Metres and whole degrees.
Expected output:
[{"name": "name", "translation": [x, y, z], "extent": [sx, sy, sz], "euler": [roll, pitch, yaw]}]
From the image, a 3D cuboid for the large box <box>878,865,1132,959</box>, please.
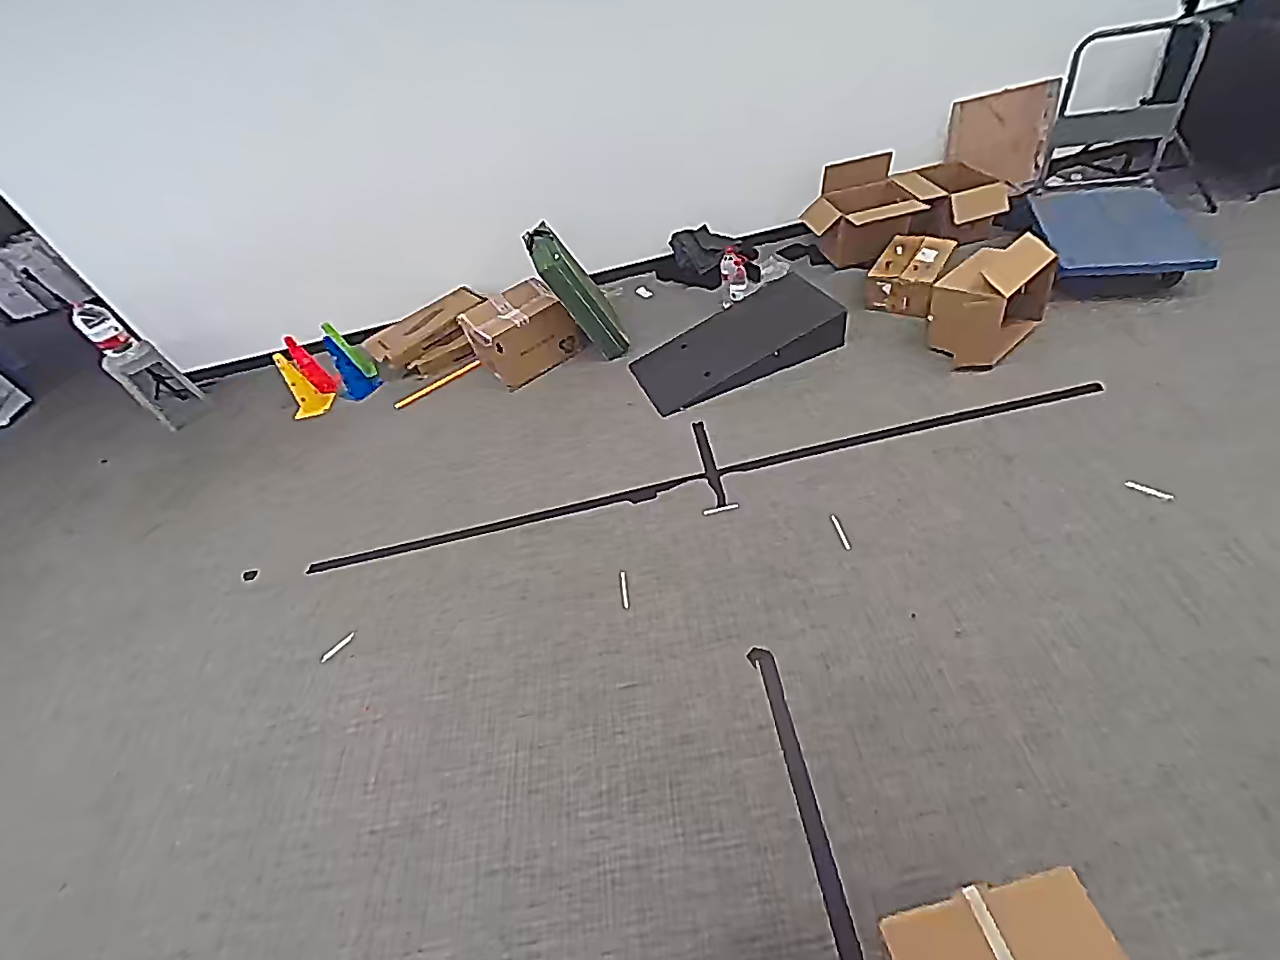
[{"name": "large box", "translation": [0.614, 0.885, 0.830], "extent": [0.320, 0.320, 0.408], "euler": [-21, 47, 5]}]
